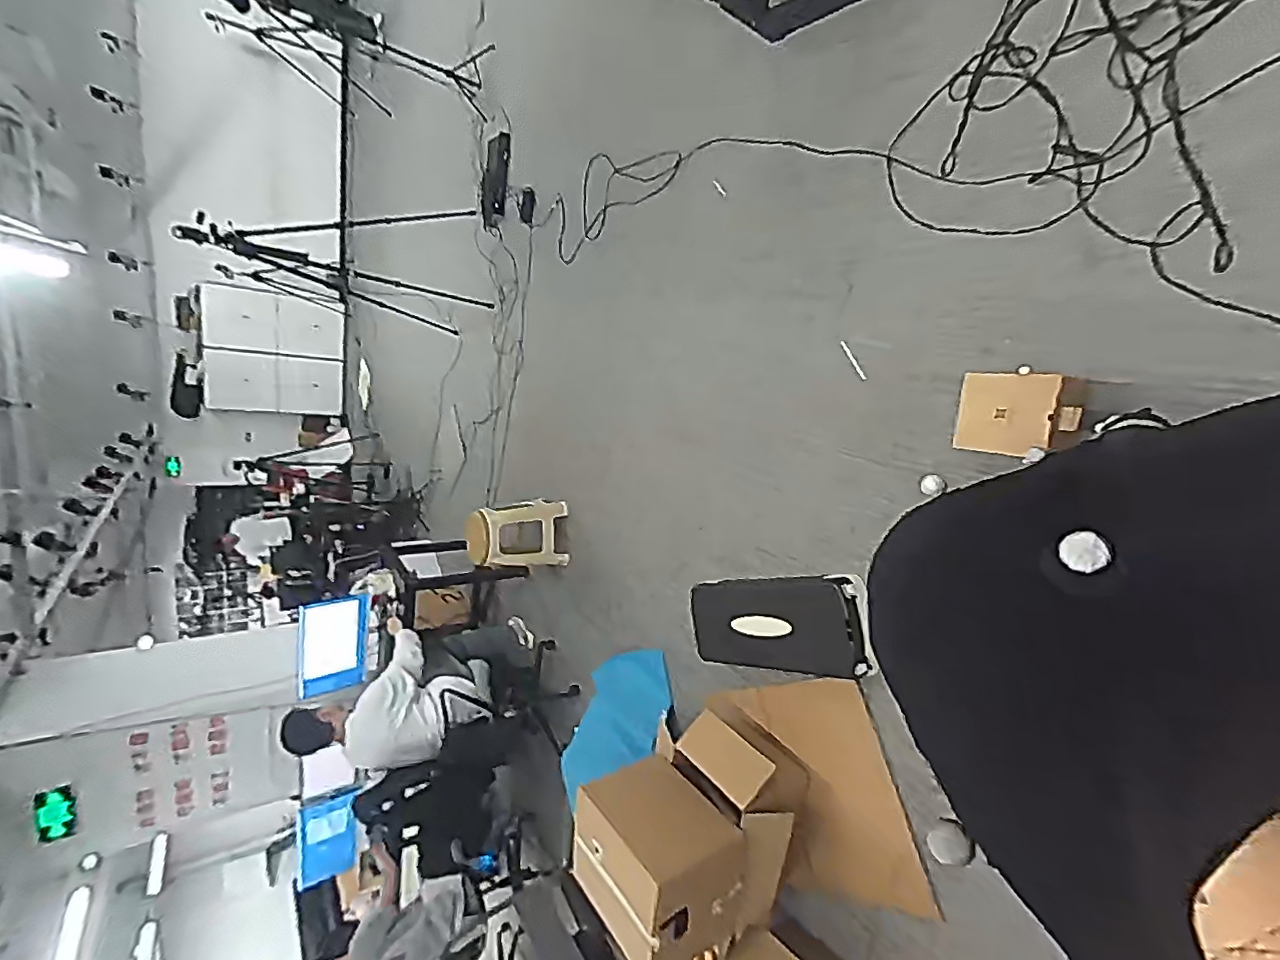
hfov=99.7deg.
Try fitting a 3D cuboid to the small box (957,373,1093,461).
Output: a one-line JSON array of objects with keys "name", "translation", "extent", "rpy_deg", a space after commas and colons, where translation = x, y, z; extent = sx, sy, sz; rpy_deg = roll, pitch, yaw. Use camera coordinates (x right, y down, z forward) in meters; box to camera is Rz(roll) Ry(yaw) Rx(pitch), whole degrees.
[{"name": "small box", "translation": [0.813, -0.132, 1.144], "extent": [0.179, 0.176, 0.168], "rpy_deg": [16, 103, 51]}]
